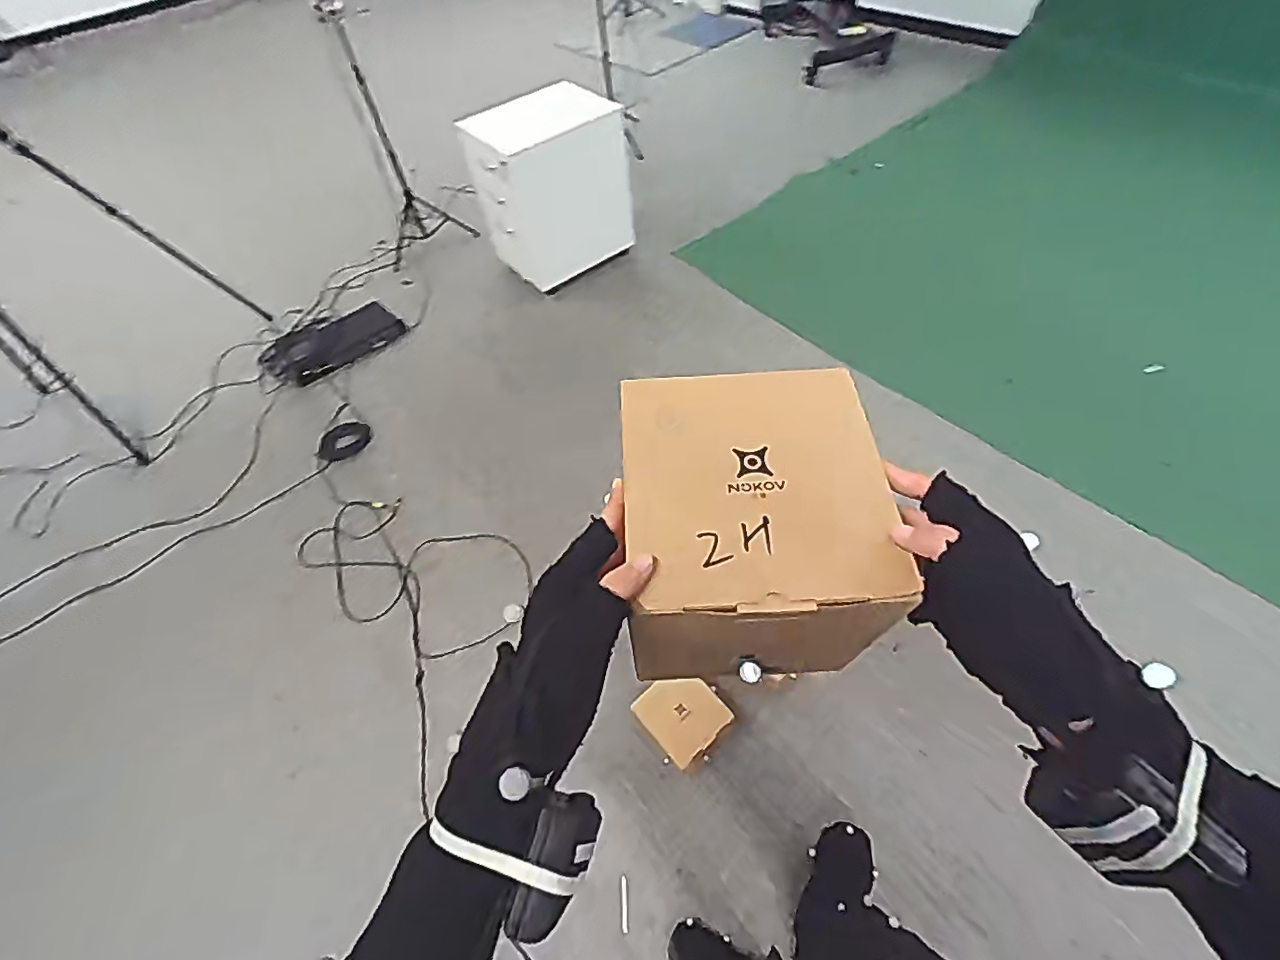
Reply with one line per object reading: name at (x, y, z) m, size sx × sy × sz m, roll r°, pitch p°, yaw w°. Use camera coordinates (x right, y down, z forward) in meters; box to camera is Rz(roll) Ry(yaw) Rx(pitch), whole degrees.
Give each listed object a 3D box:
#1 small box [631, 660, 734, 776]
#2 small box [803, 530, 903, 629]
small box at (0.099, 0.566, 1.275) m, size 0.168 × 0.176 × 0.179 m, roll -38°, pitch 60°, yaw -20°
small box at (0.556, 0.269, 1.444) m, size 0.179 × 0.176 × 0.168 m, roll -24°, pitch 56°, yaw -14°
